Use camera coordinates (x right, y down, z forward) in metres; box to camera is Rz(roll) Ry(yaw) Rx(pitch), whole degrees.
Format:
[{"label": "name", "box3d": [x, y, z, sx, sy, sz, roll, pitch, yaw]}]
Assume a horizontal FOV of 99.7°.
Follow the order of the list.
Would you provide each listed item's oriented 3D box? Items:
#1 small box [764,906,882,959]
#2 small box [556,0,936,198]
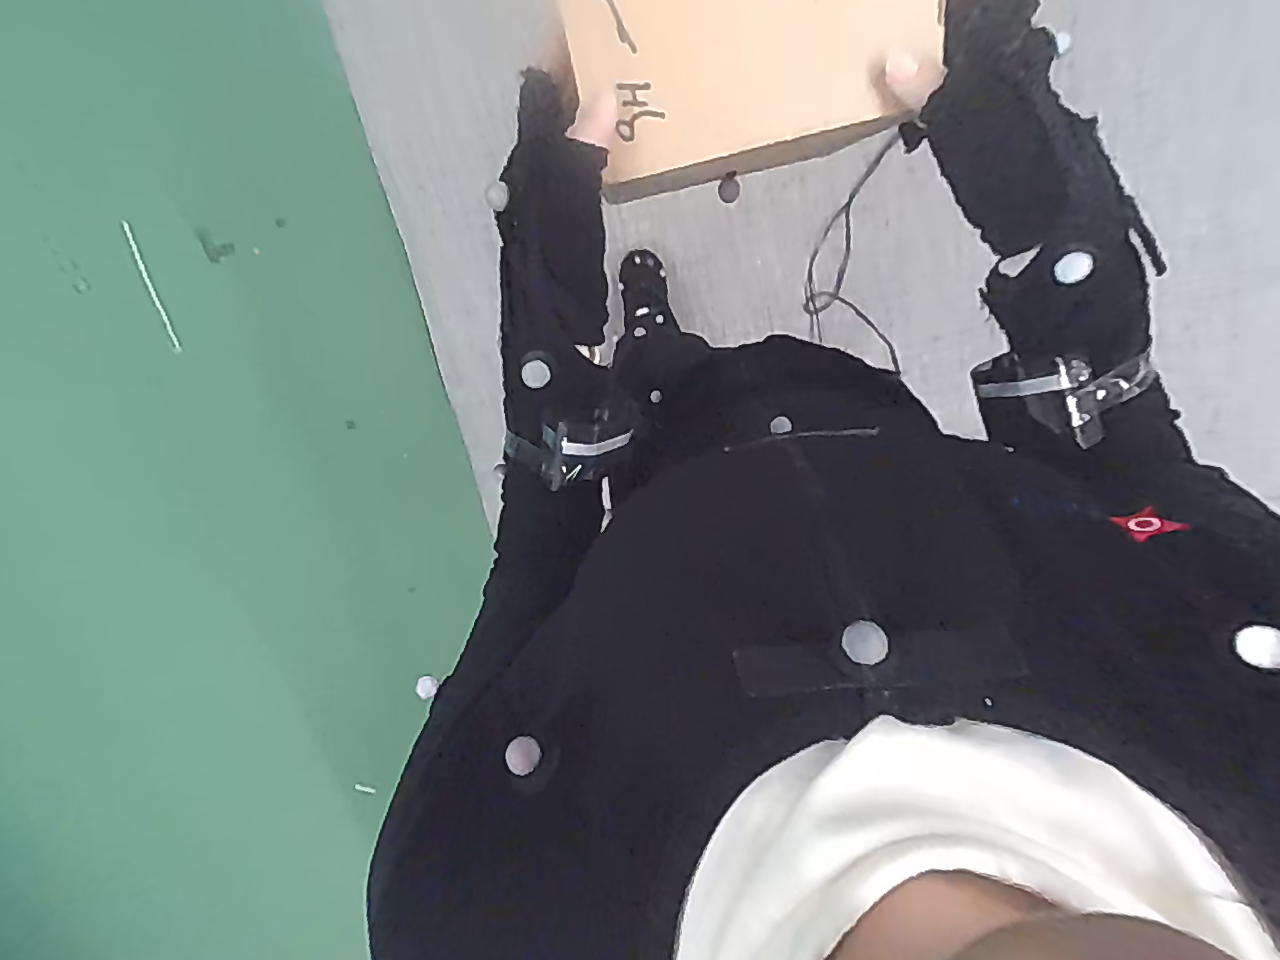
[{"label": "small box", "box3d": [0.297, 0.812, 0.841, 0.179, 0.176, 0.168, -12, 108, 5]}, {"label": "small box", "box3d": [0.042, -0.276, 0.312, 0.179, 0.176, 0.168, -11, 112, 2]}]
